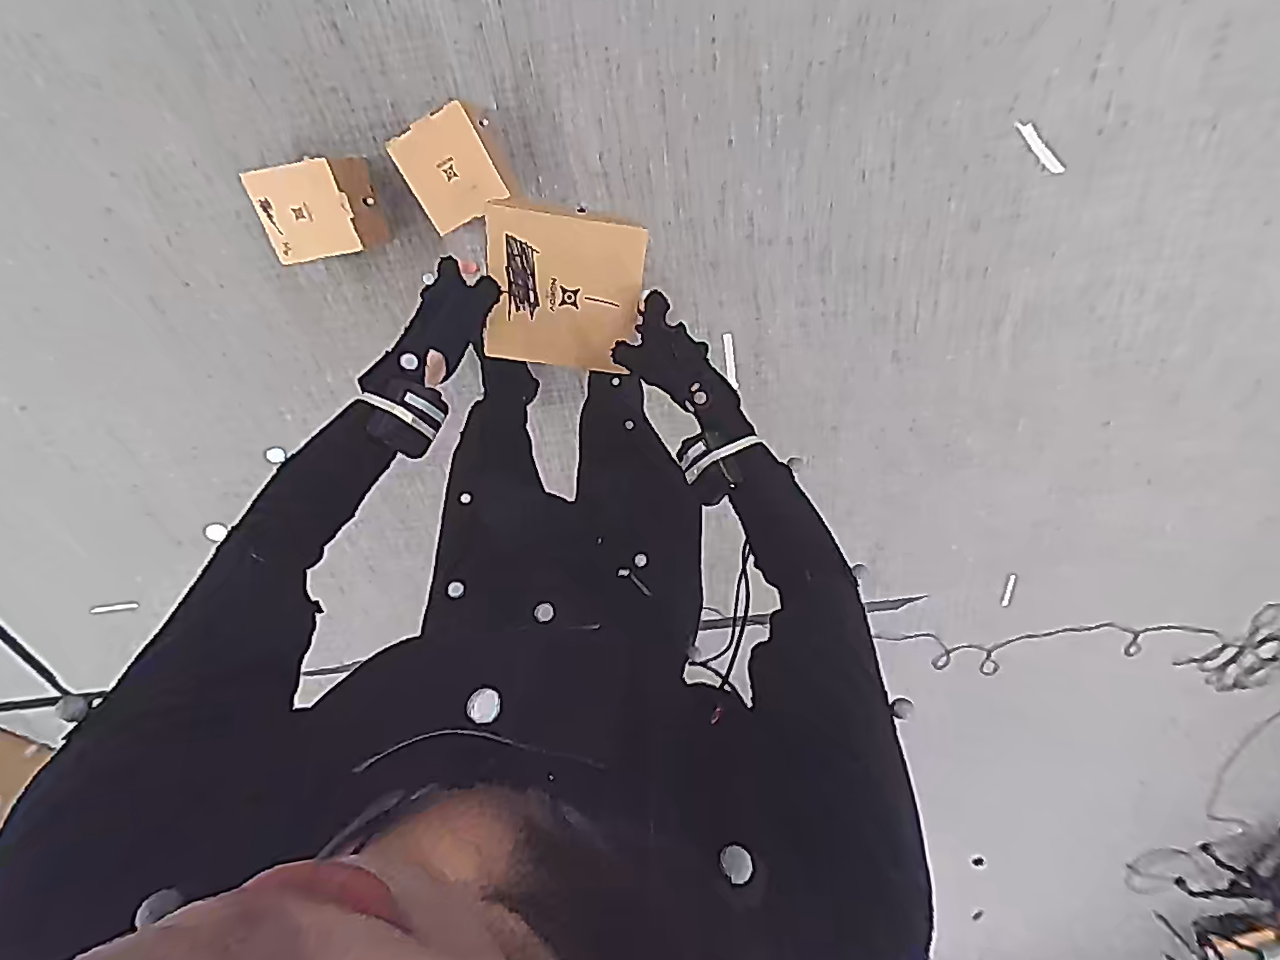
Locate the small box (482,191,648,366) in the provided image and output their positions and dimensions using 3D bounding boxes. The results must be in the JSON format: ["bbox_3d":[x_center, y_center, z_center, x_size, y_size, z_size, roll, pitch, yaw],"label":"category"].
[{"bbox_3d":[-0.087,-0.254,0.673,0.179,0.176,0.168,7,118,-4],"label":"small box"}]

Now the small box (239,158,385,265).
[{"bbox_3d":[-0.648,-0.551,1.102,0.179,0.176,0.168,-9,120,3],"label":"small box"}]

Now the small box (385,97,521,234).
[{"bbox_3d":[-0.359,-0.618,1.073,0.168,0.176,0.179,-24,119,12],"label":"small box"}]
